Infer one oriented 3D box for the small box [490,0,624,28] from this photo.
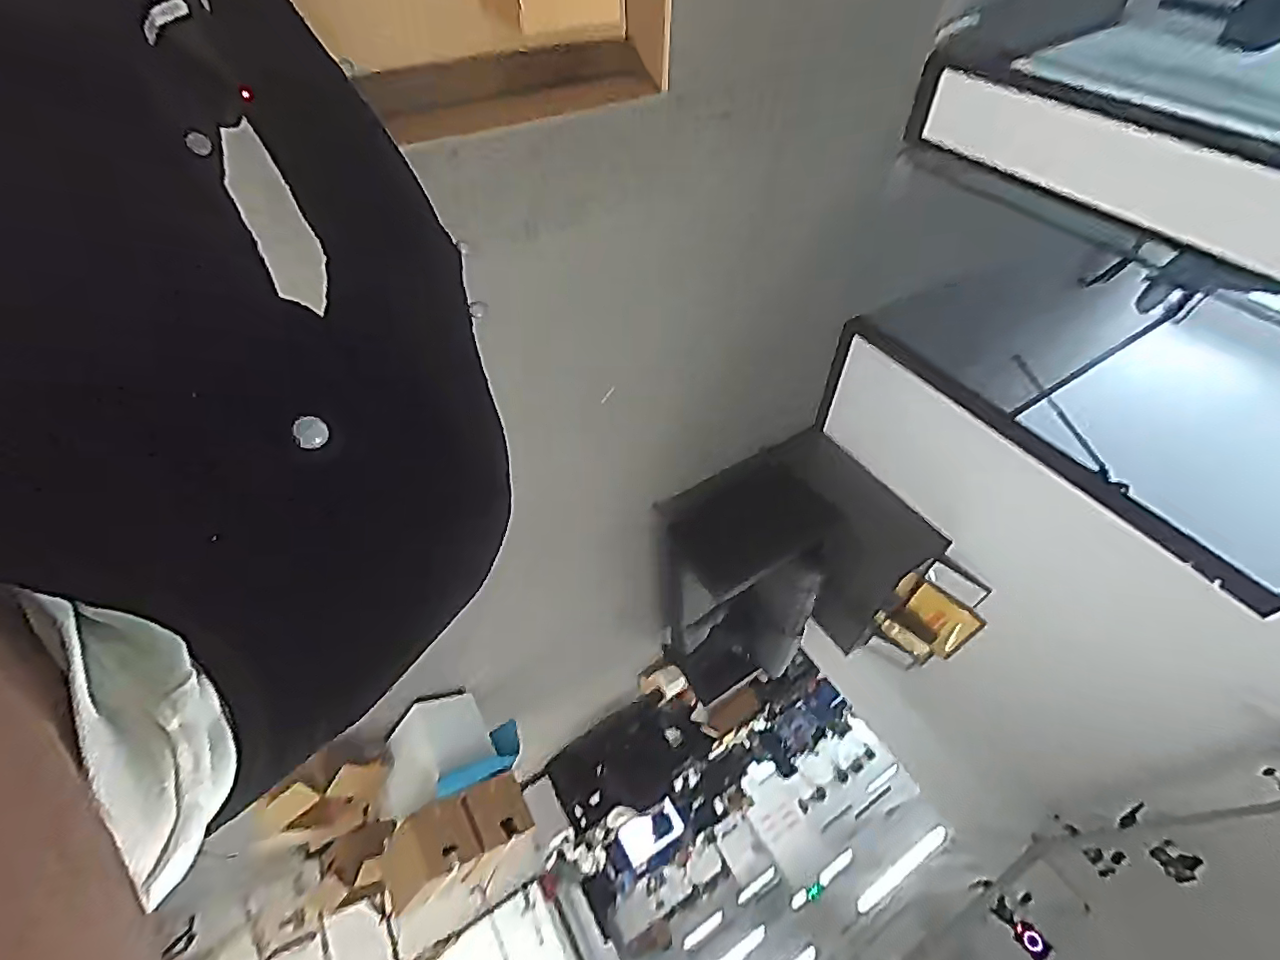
[{"bbox_3d":[-0.140,-0.825,0.826,0.179,0.176,0.168,-25,146,-18],"label":"small box"}]
